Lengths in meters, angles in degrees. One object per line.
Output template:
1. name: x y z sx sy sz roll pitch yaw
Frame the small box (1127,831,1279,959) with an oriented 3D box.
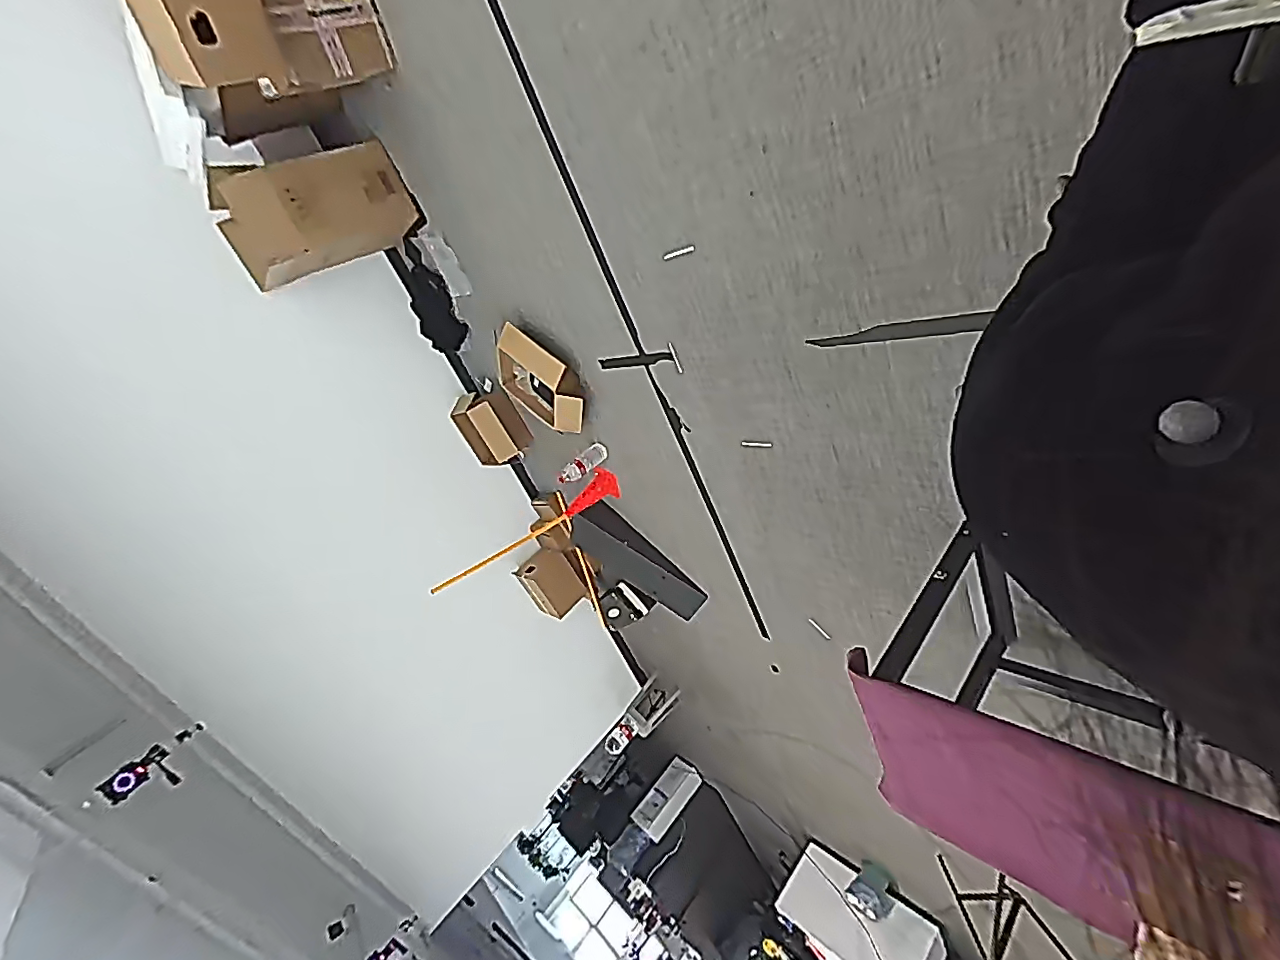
1. small box: 0.970 0.763 0.933 0.168 0.176 0.179 9 132 47
